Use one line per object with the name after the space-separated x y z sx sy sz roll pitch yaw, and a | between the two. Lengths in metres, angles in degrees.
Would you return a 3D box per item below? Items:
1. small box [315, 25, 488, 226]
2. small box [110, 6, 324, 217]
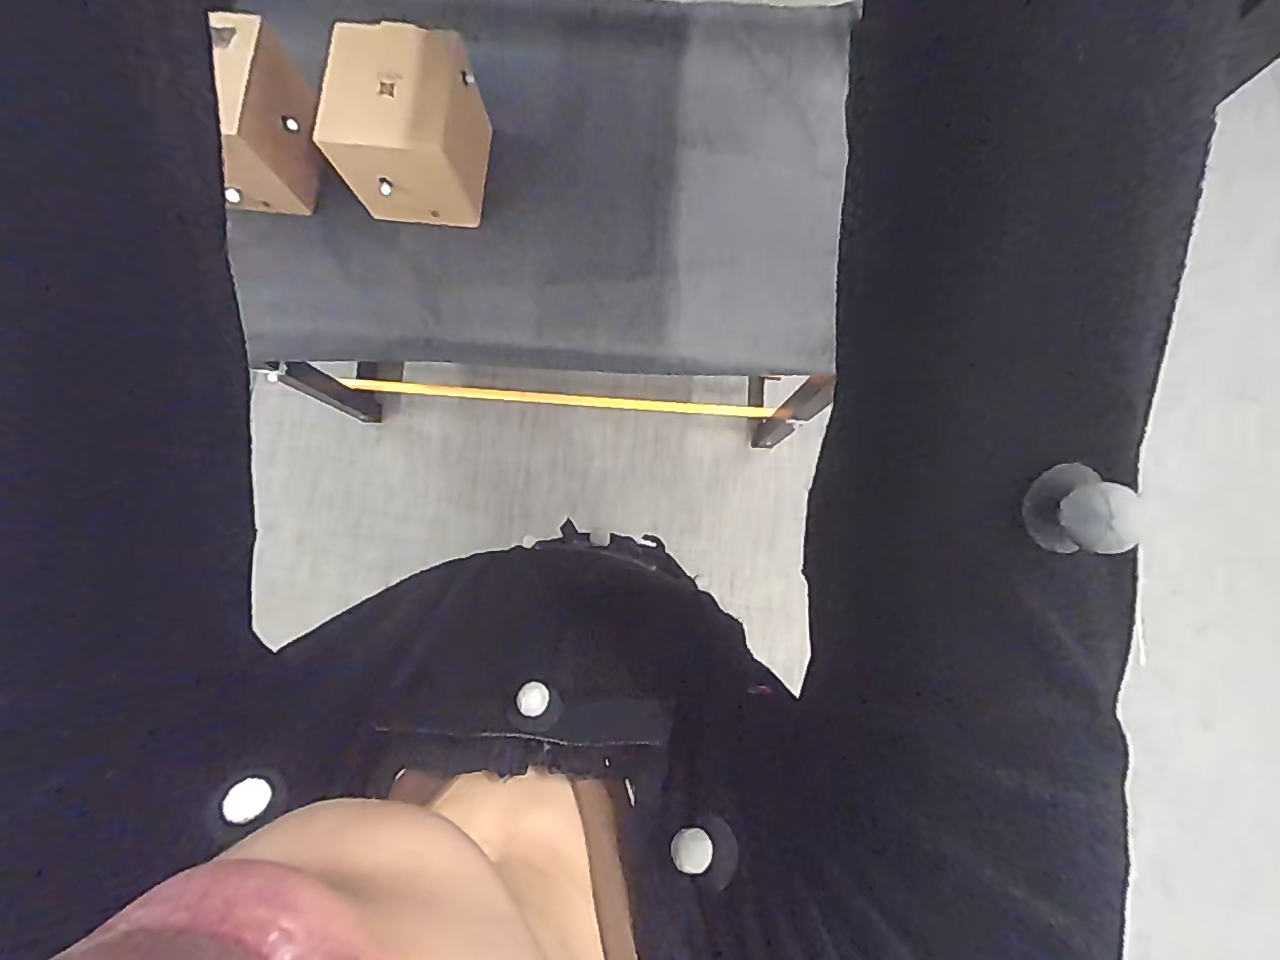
-0.326 -0.493 0.774 0.168 0.176 0.179 4 82 -1 | small box
-0.578 -0.510 0.769 0.168 0.176 0.179 5 83 0 | small box
